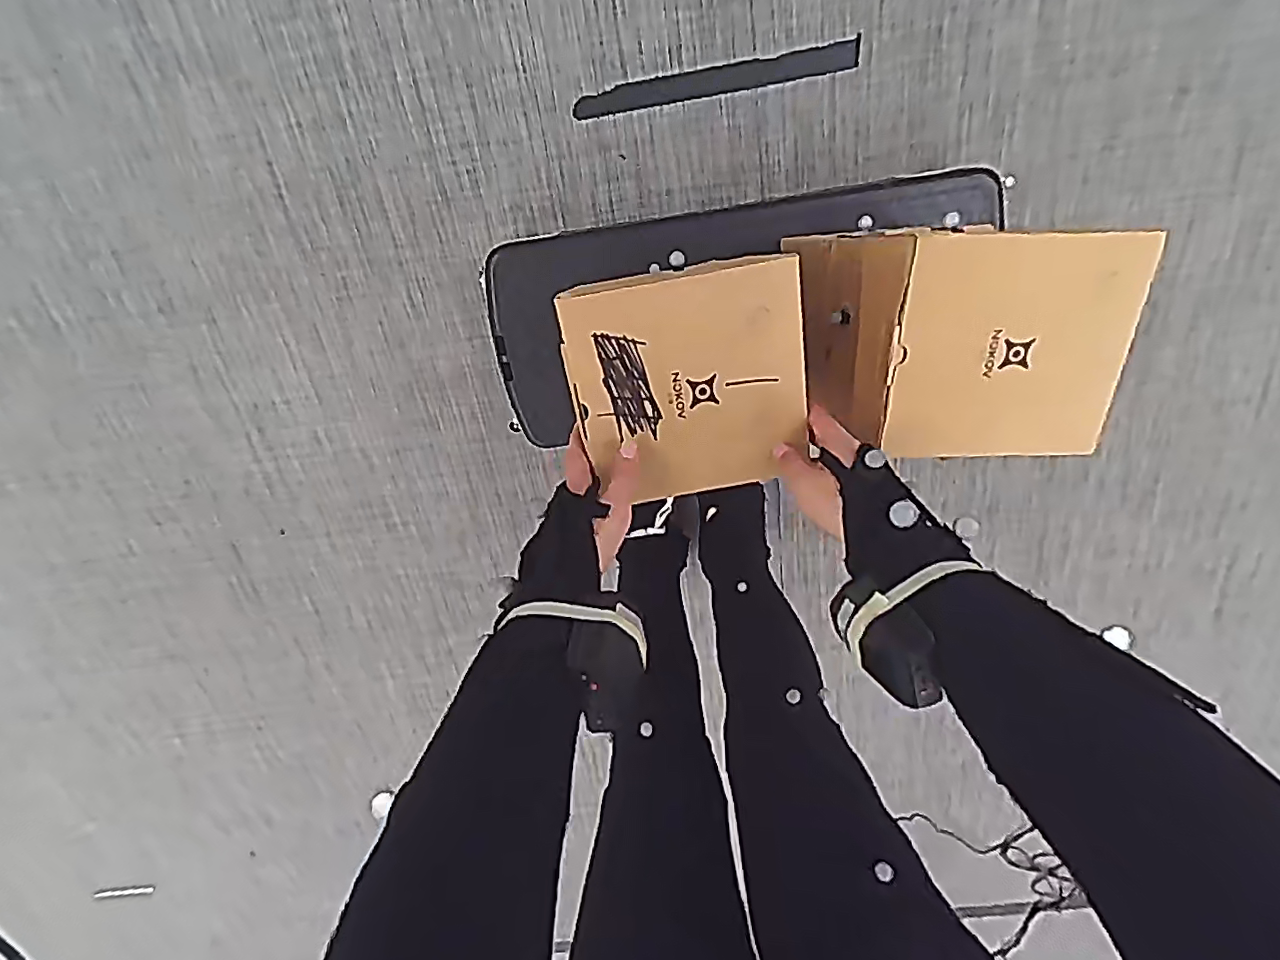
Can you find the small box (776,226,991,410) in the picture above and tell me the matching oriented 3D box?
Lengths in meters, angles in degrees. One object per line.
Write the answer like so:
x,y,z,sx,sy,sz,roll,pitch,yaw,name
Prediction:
0.258,-0.192,0.623,0.168,0.176,0.179,-4,113,1,small box
